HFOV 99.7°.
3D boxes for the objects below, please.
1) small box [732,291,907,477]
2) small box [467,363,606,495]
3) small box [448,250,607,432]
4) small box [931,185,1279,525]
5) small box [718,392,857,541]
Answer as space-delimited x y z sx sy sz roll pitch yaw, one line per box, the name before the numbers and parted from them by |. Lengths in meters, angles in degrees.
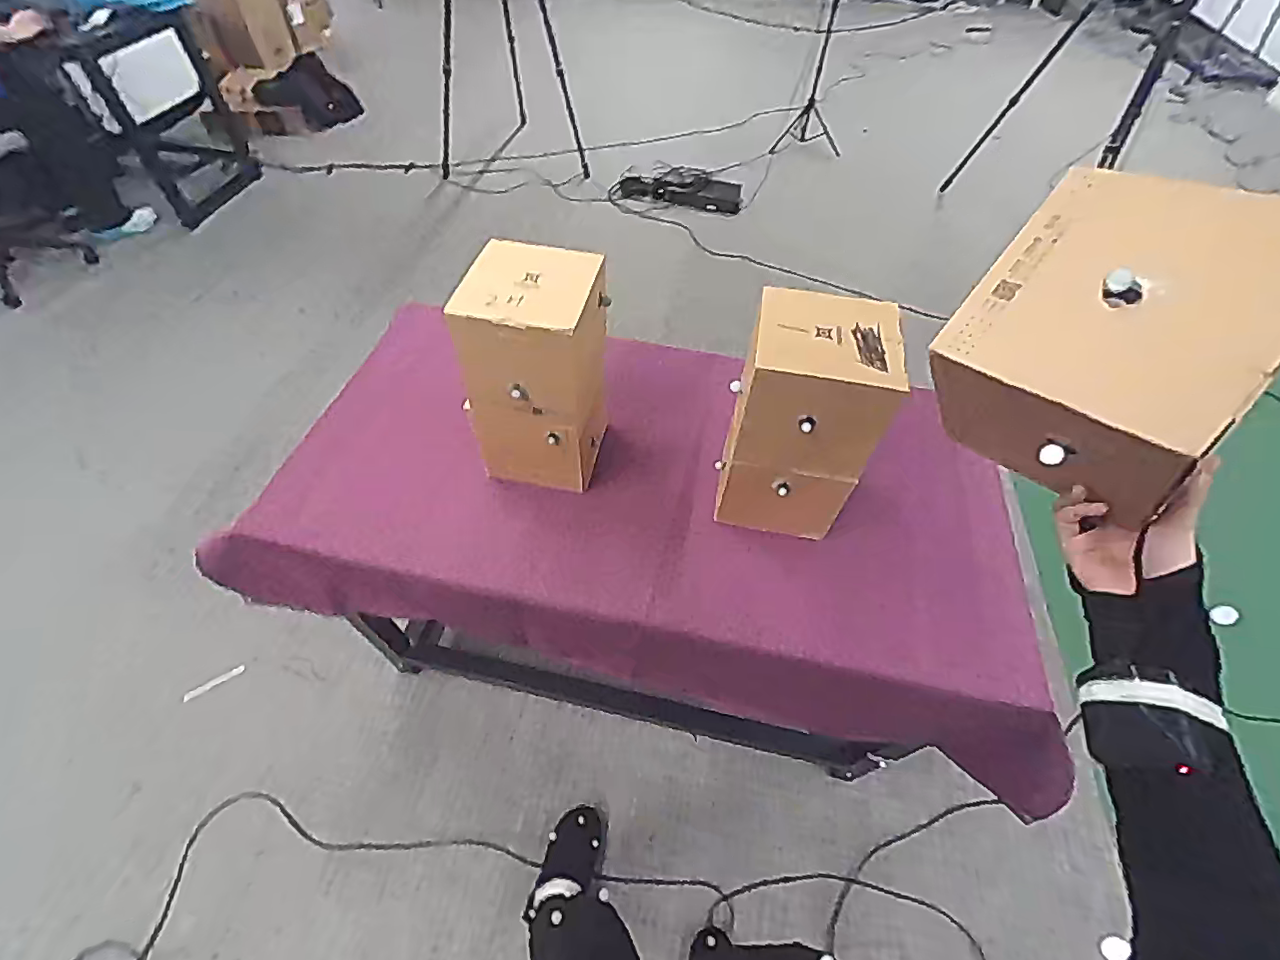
small box | 0.228 -0.122 0.722 0.179 0.176 0.168 9 53 6
small box | -0.159 -0.093 0.896 0.179 0.176 0.168 9 53 5
small box | -0.146 -0.195 0.768 0.168 0.176 0.179 9 53 5
small box | 0.352 -0.096 0.415 0.168 0.179 0.176 -53 51 4
small box | 0.225 -0.022 0.852 0.179 0.176 0.168 11 54 6
